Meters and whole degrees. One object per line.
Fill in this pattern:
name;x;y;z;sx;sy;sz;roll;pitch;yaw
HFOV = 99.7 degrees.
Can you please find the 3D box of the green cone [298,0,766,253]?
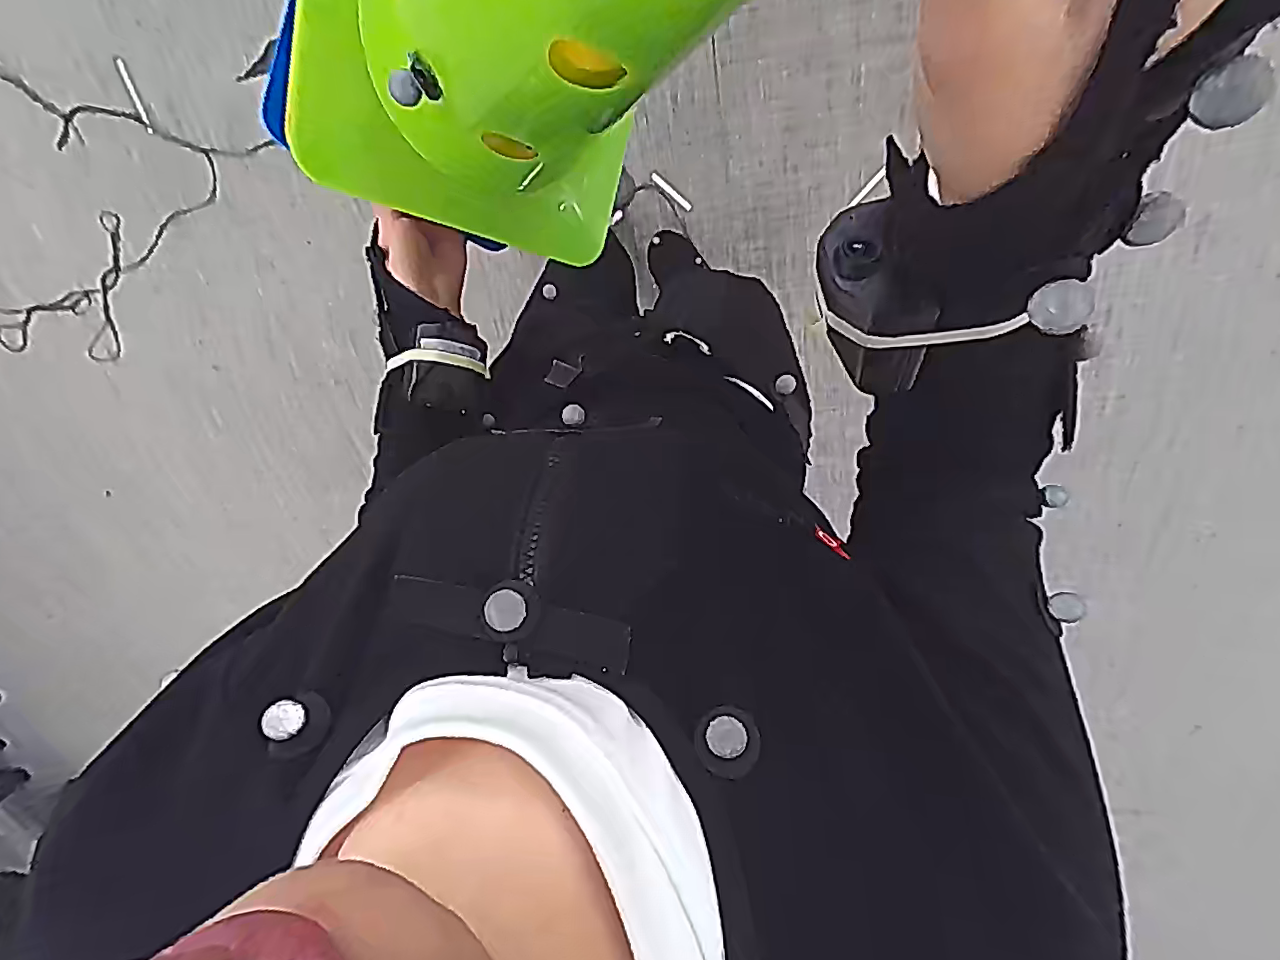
green cone;-0.006;-0.195;0.183;0.200;0.368;0.202;6;110;-30
